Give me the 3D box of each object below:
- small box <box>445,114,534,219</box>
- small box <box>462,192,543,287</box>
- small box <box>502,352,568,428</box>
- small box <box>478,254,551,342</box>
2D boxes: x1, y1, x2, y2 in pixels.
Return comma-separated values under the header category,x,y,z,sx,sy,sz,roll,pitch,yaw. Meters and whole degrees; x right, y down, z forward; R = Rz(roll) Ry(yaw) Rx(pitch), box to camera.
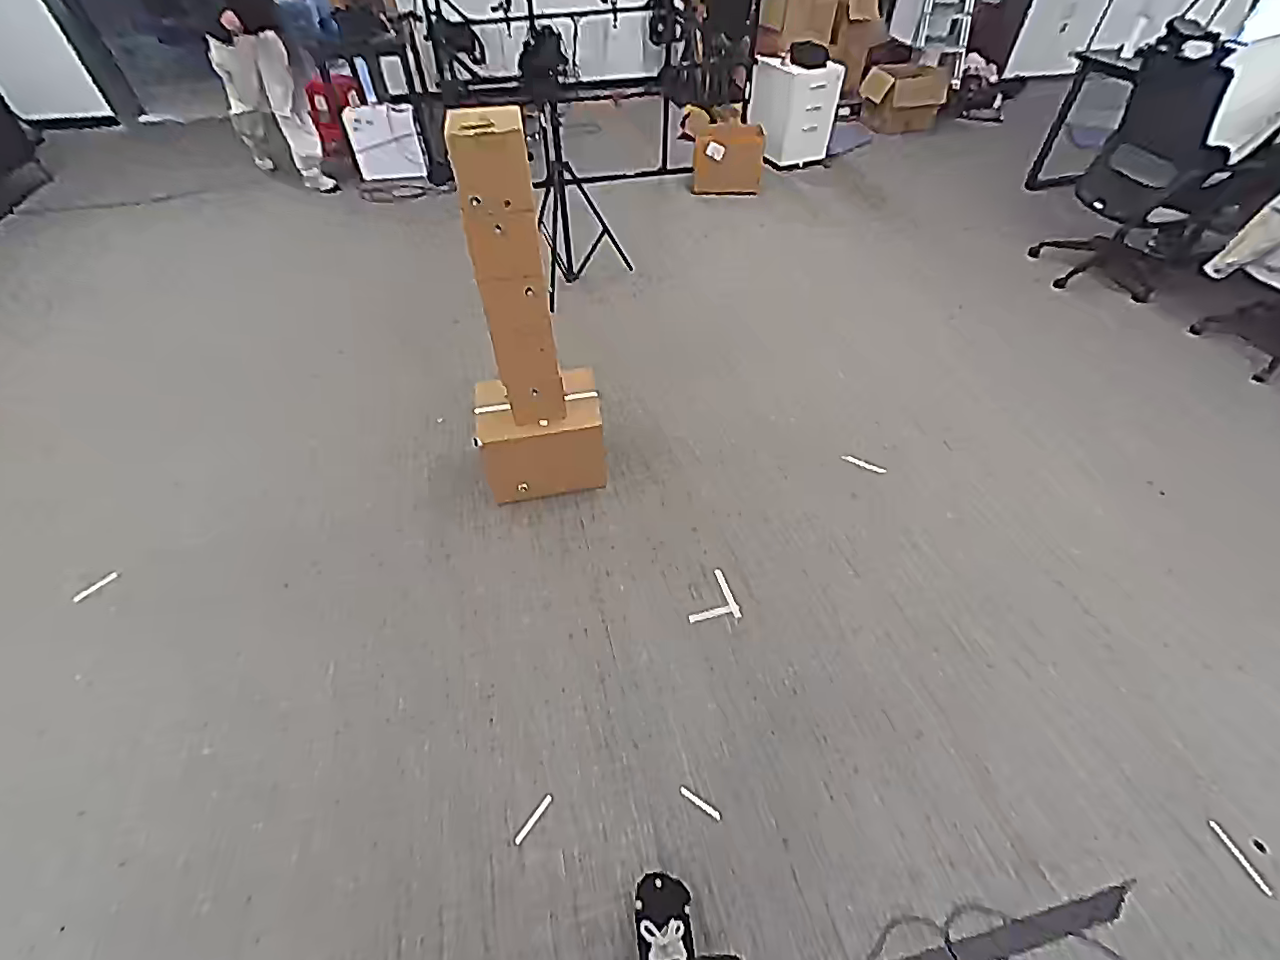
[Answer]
category,x,y,z,sx,sy,sz,roll,pitch,yaw
small box,-0.344,-0.723,1.258,0.168,0.176,0.179,-8,49,-7
small box,-0.345,-0.613,1.380,0.179,0.176,0.168,-8,50,-6
small box,-0.338,-0.285,1.745,0.179,0.176,0.168,-11,50,-10
small box,-0.344,-0.505,1.500,0.179,0.176,0.168,-9,49,-7
